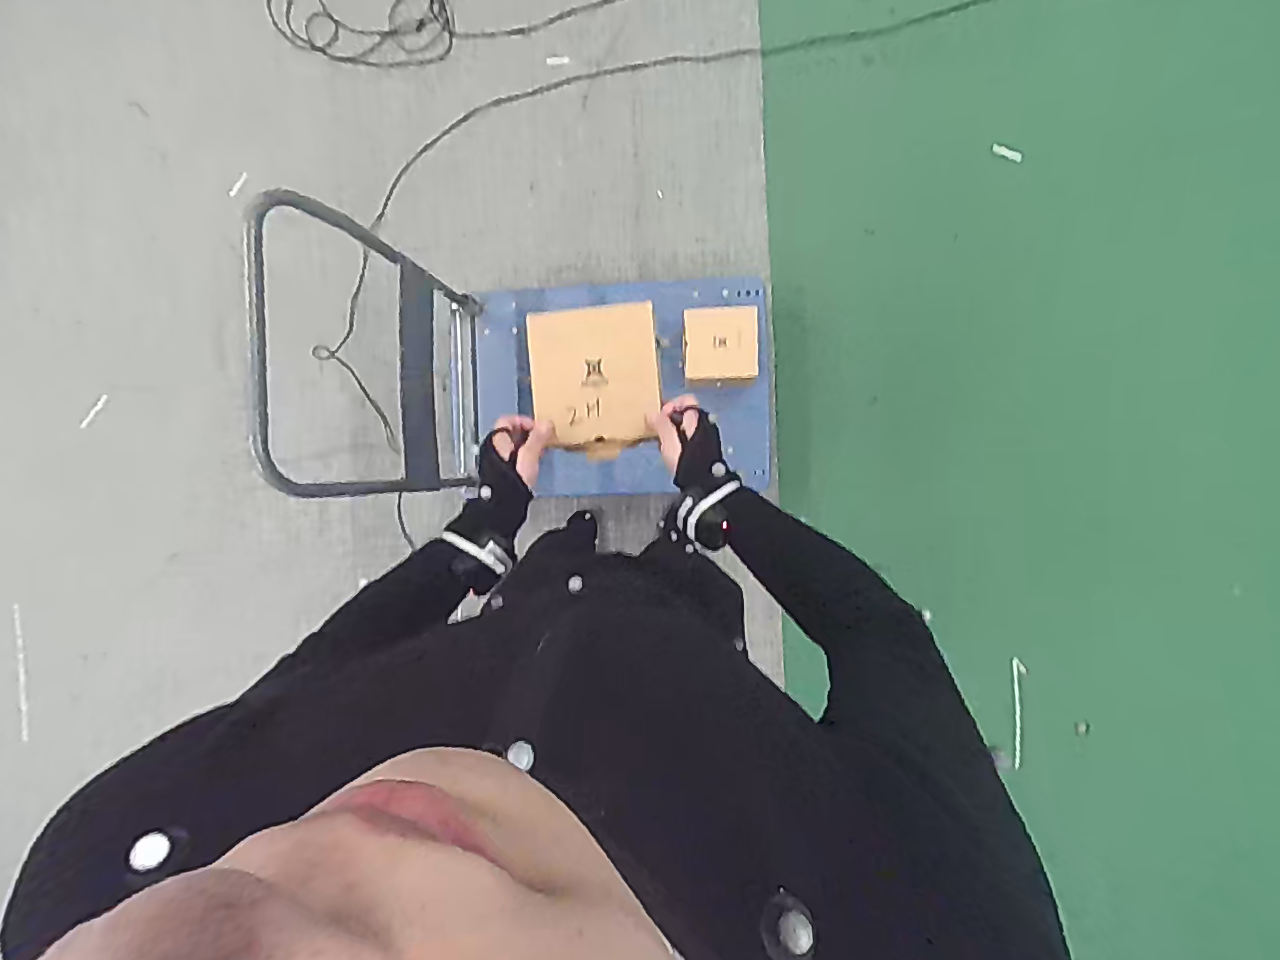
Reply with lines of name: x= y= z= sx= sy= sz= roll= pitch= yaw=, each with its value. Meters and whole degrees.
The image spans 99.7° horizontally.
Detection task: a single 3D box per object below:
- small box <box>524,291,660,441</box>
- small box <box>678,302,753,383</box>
small box: x=-0.059 y=-0.150 z=0.764 sx=0.168 sy=0.176 sz=0.179 roll=-3 pitch=92 yaw=4
small box: x=0.186 y=-0.337 z=1.352 sx=0.179 sy=0.176 sz=0.168 roll=0 pitch=92 yaw=4
